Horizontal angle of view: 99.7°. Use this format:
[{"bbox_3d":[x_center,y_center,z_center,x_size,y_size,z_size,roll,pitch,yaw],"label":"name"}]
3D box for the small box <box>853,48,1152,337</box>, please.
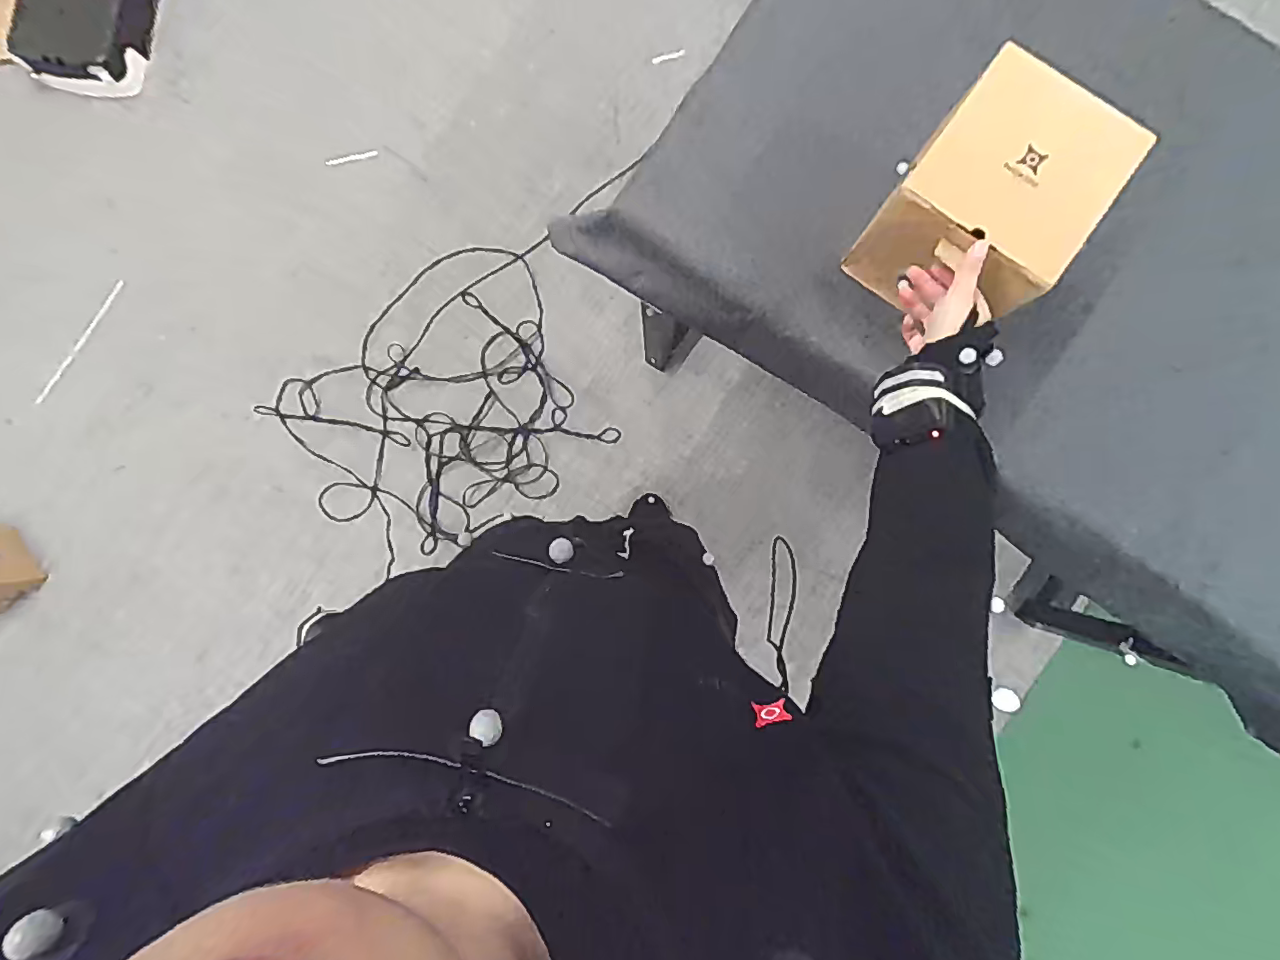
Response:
[{"bbox_3d":[0.365,-0.288,0.584,0.168,0.176,0.179,36,89,2],"label":"small box"}]
